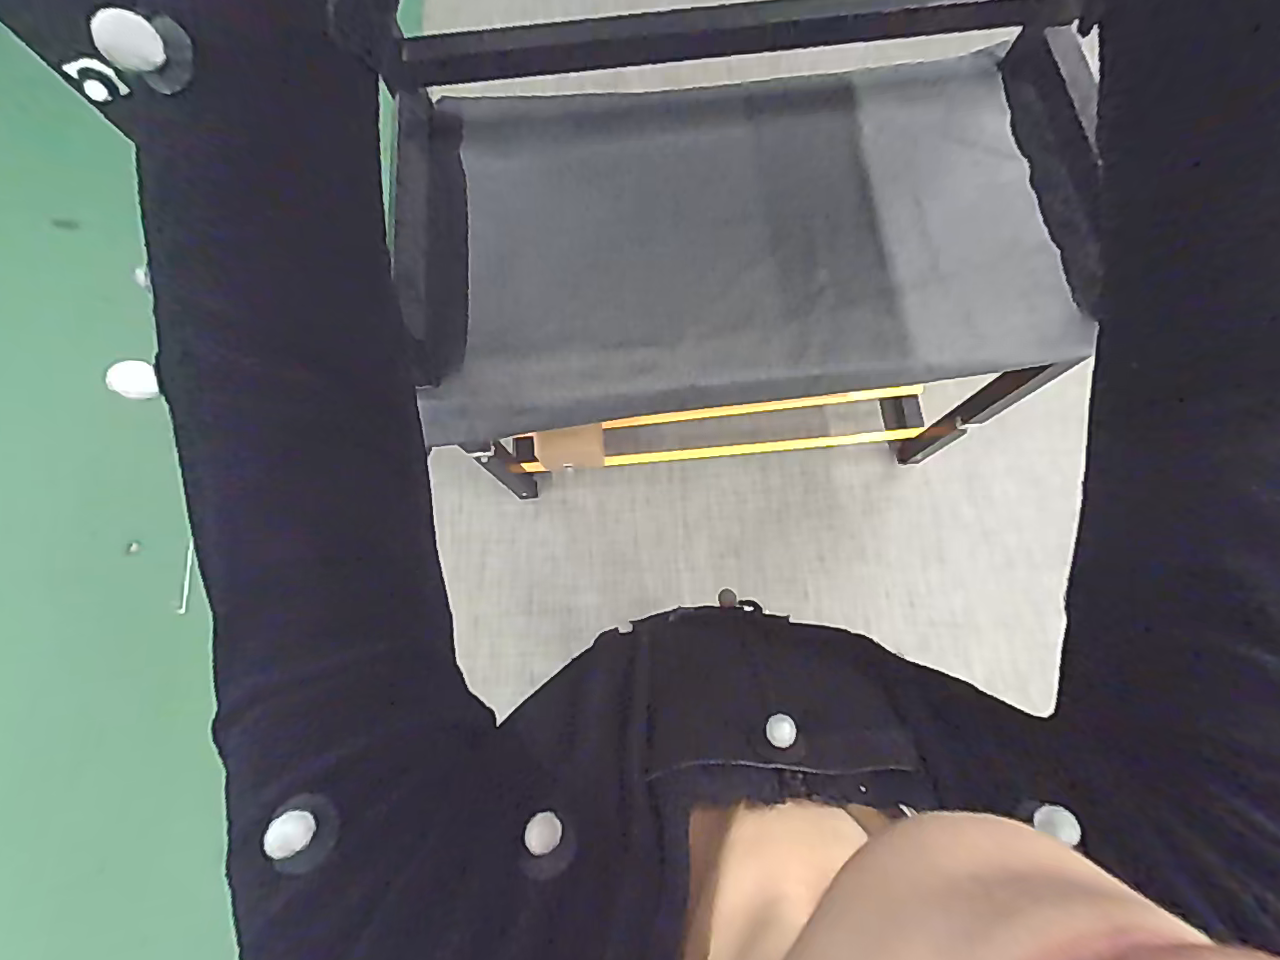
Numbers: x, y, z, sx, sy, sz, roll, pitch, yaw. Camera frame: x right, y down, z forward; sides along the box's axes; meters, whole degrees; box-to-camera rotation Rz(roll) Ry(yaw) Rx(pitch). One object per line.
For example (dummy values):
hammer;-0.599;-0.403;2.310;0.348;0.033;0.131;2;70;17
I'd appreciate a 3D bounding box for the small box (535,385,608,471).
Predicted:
small box;-0.179;-0.134;1.439;0.168;0.176;0.179;-6;76;1
